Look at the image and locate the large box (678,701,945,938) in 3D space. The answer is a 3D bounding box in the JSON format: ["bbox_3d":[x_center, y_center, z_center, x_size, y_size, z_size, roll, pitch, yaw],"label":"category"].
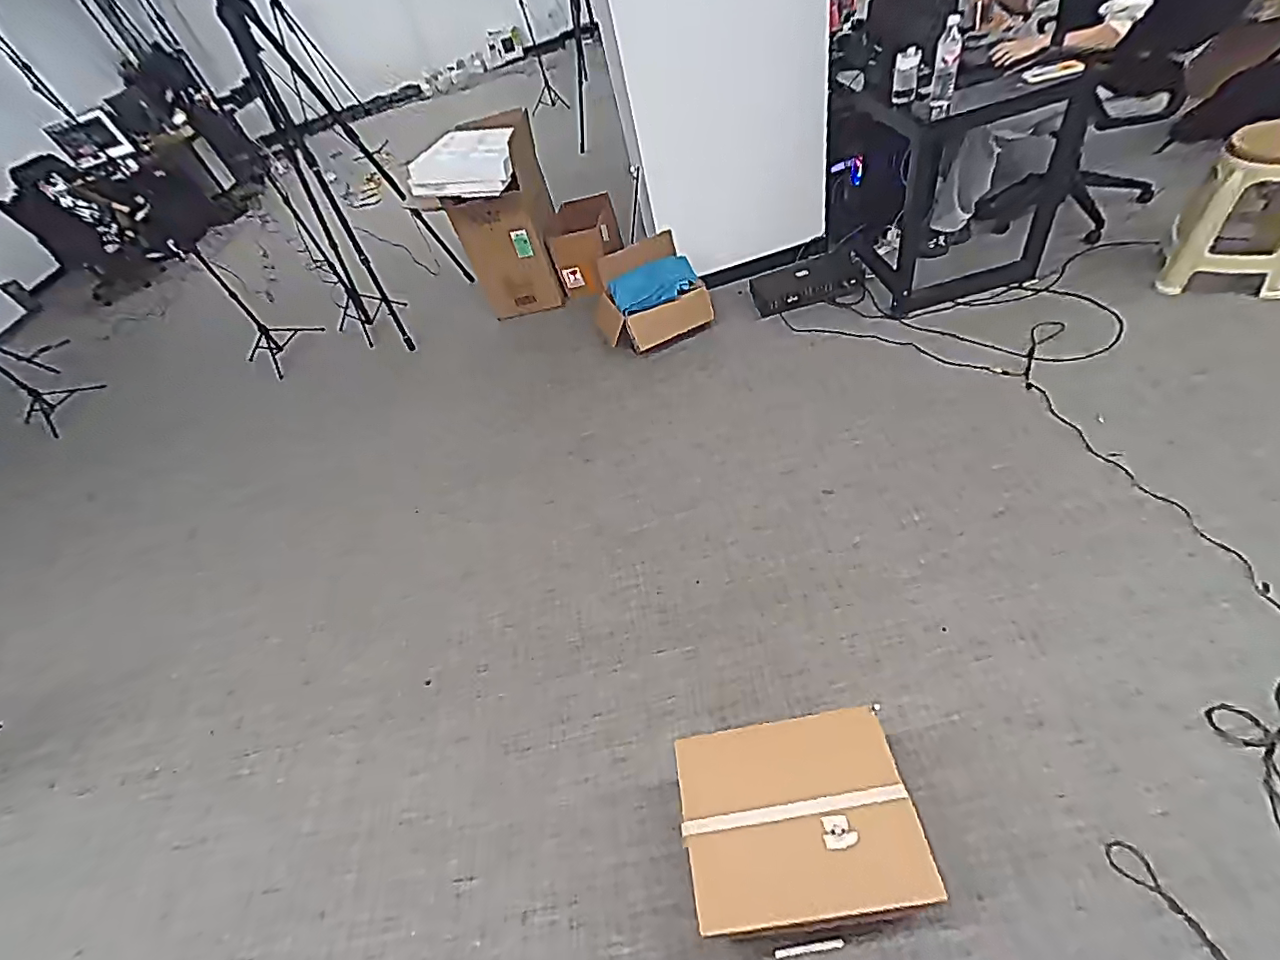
[{"bbox_3d":[0.317,0.692,1.095,0.408,0.320,0.320,-13,47,5],"label":"large box"}]
